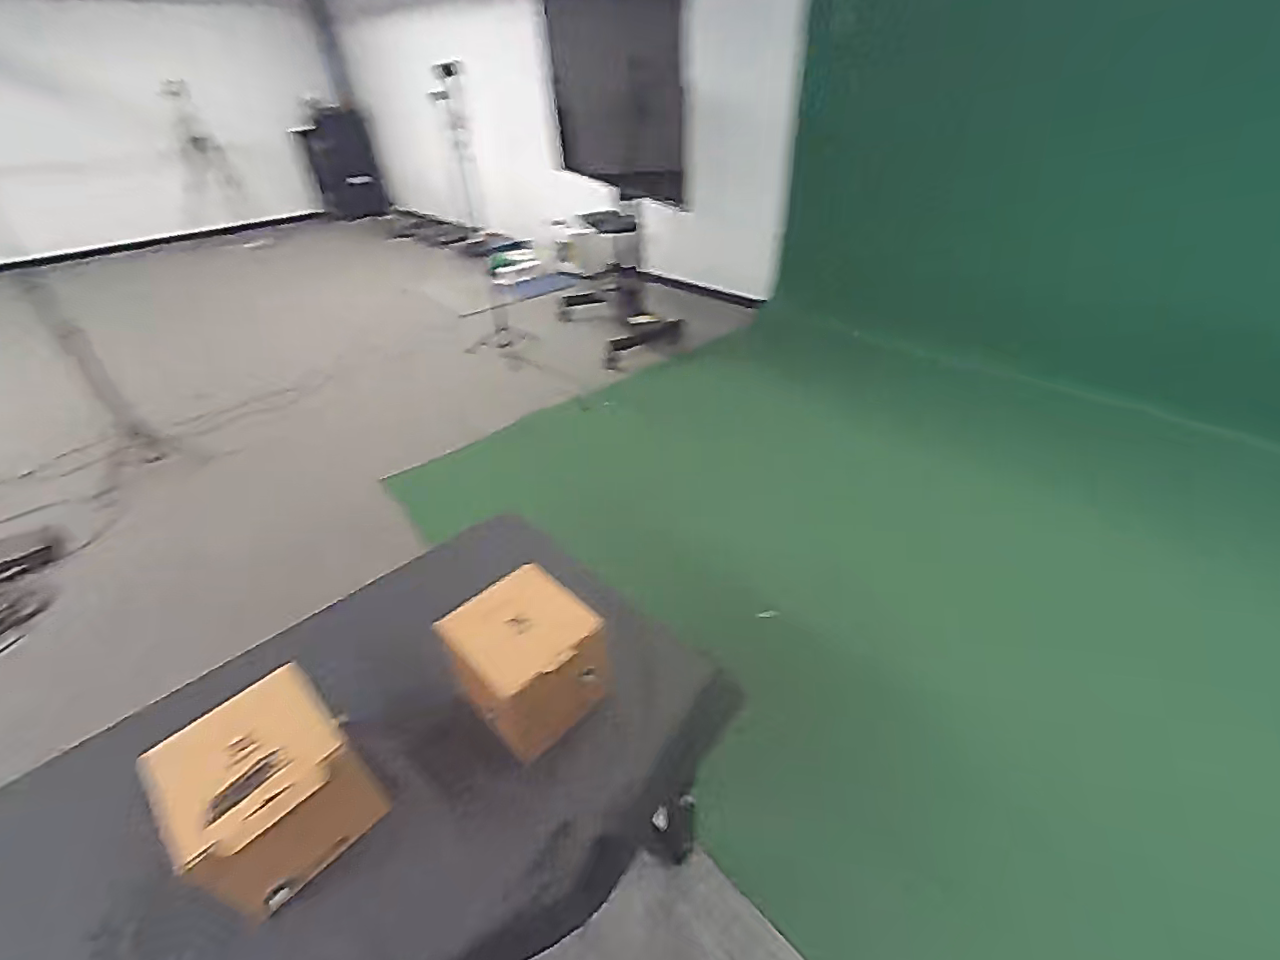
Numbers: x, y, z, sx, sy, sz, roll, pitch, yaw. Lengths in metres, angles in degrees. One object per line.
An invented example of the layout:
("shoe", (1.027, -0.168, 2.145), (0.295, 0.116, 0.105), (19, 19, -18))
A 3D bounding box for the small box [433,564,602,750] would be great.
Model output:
("small box", (-0.173, 0.266, 0.807), (0.179, 0.176, 0.168), (27, 45, 36))

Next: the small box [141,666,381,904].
("small box", (-0.458, 0.379, 0.673), (0.179, 0.176, 0.168), (26, 45, 34))
